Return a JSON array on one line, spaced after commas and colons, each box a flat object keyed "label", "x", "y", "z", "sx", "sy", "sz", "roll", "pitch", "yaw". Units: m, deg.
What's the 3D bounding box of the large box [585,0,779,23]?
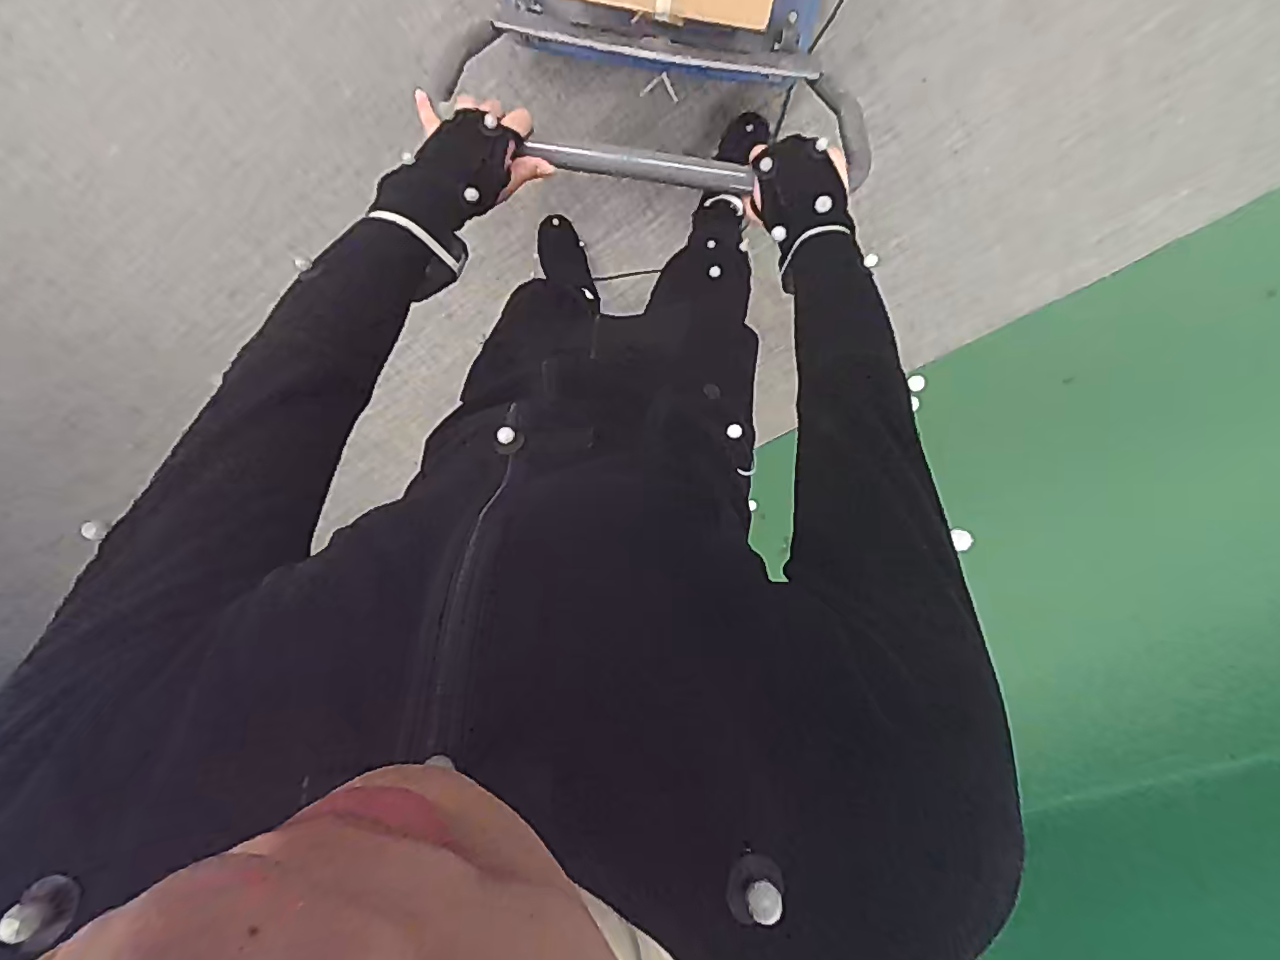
[{"label": "large box", "x": 0.069, "y": -0.918, "z": 0.751, "sx": 0.320, "sy": 0.320, "sz": 0.408, "roll": 6, "pitch": 133, "yaw": -3}]
